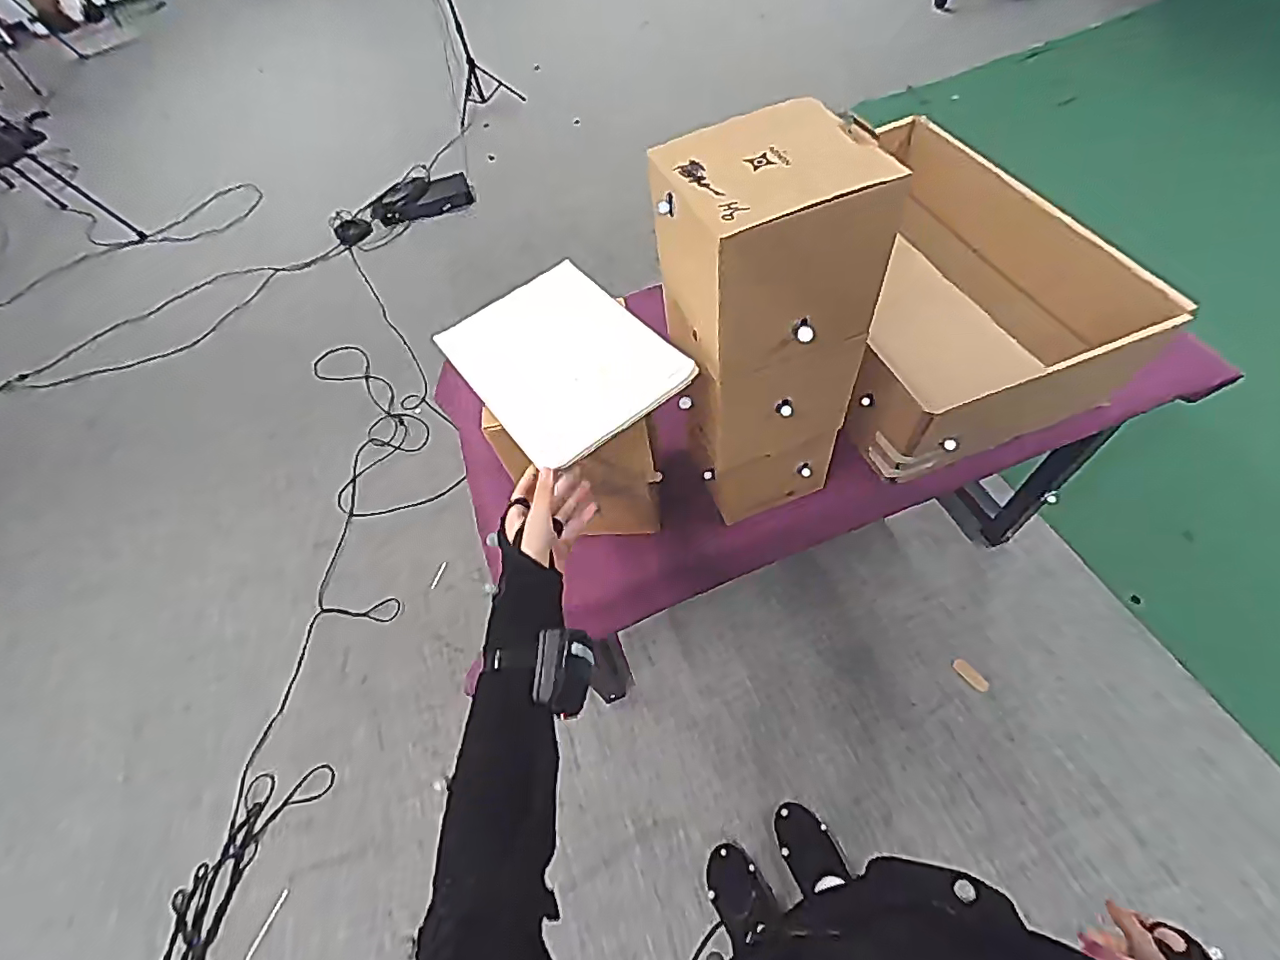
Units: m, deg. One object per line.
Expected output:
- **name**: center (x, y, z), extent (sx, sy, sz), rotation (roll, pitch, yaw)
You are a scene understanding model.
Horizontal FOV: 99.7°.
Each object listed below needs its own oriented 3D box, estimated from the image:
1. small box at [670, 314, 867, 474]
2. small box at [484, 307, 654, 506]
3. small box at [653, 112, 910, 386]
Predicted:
- **small box**: center (0.148, -0.136, 0.679), extent (0.179, 0.176, 0.168), rotation (-20, 55, -4)
- **small box**: center (-0.080, -0.086, 0.686), extent (0.179, 0.176, 0.168), rotation (-11, 56, 4)
- **small box**: center (0.125, -0.226, 0.543), extent (0.179, 0.176, 0.168), rotation (-20, 55, -5)
